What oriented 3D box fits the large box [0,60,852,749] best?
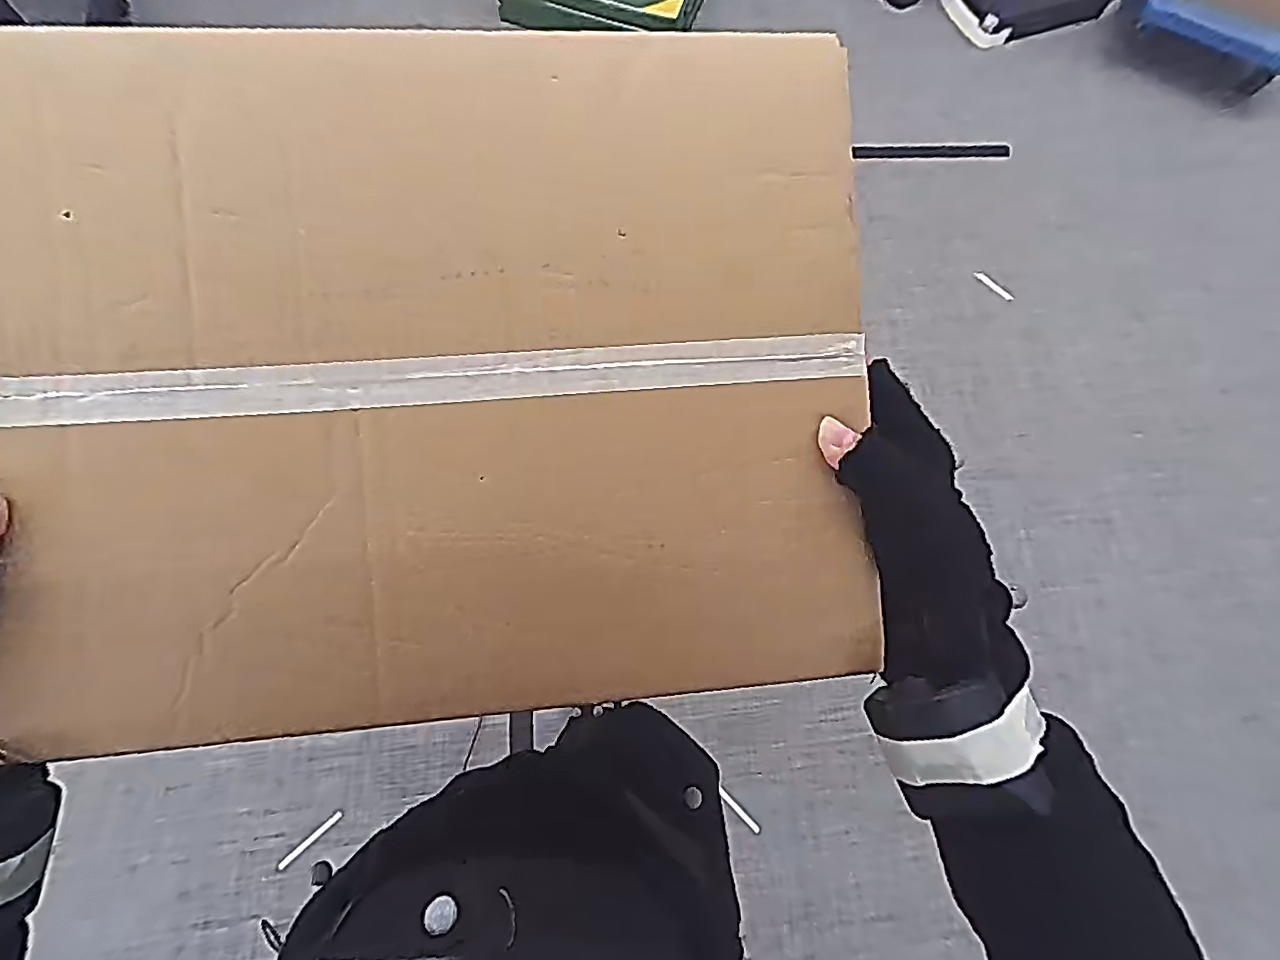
[{"bbox_3d":[-0.108,-0.048,0.408,0.408,0.320,0.320,-4,91,-6],"label":"large box"}]
